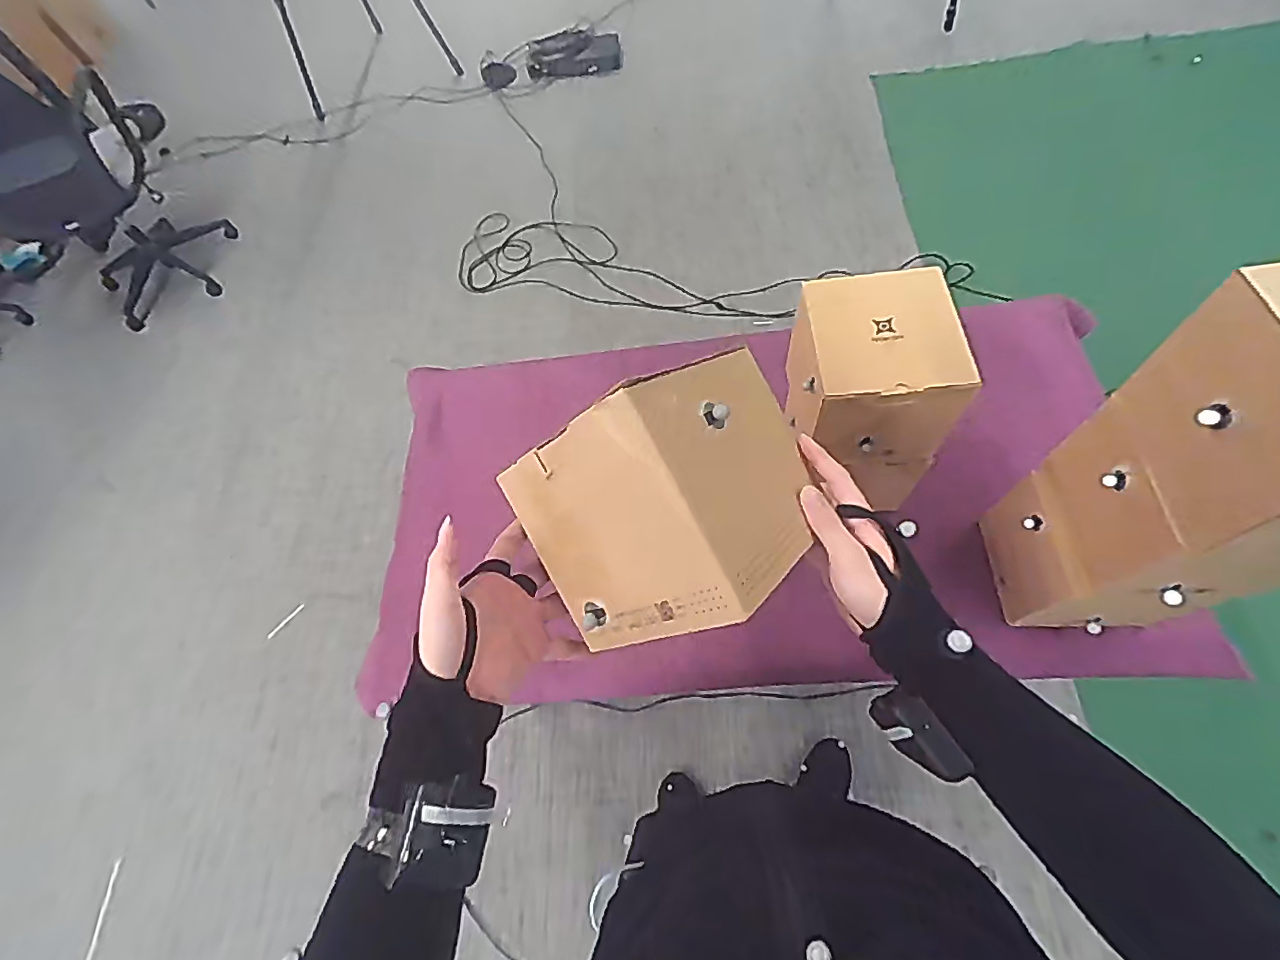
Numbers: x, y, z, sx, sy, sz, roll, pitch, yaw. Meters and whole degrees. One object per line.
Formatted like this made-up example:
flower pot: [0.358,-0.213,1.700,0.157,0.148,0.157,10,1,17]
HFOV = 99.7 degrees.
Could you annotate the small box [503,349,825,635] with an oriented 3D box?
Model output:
small box: [0.027,0.016,0.452,0.179,0.168,0.176,-27,90,-48]

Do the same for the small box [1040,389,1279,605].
small box: [0.571,0.025,0.576,0.168,0.176,0.179,-2,63,9]

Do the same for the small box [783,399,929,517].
small box: [0.319,-0.056,0.837,0.168,0.176,0.179,-1,64,8]

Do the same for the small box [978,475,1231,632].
small box: [0.591,0.102,0.720,0.179,0.176,0.168,-2,63,9]

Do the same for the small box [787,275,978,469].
small box: [0.291,-0.131,0.696,0.168,0.176,0.179,-4,64,6]
